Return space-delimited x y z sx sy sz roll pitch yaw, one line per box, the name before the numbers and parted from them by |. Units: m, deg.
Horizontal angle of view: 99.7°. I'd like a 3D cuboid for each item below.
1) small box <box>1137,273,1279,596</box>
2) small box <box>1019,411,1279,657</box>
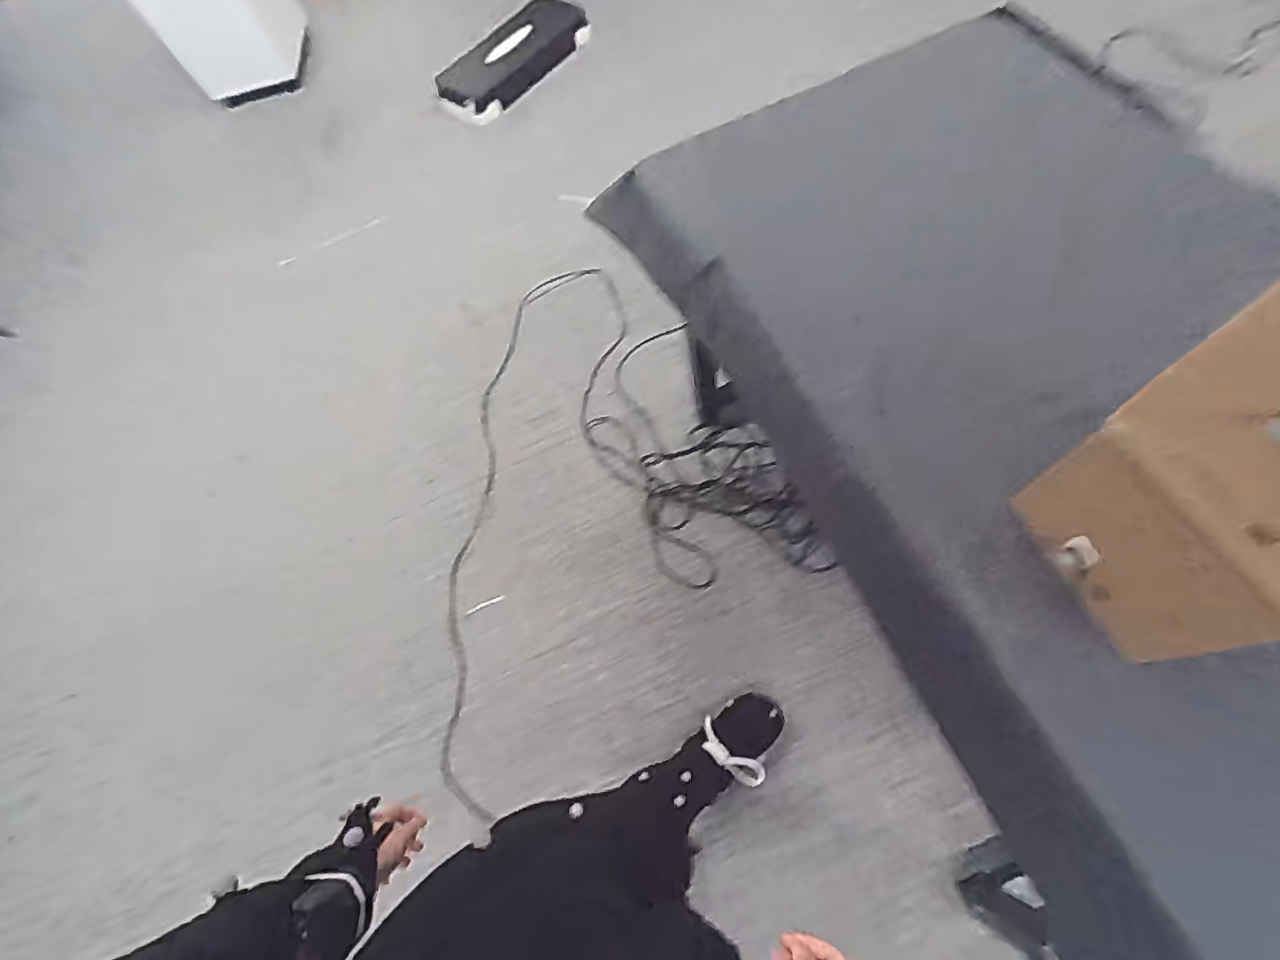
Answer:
small box | 0.428 -0.042 0.284 0.179 0.176 0.168 -24 64 -3
small box | 0.461 0.024 0.429 0.179 0.176 0.168 -23 64 -1
